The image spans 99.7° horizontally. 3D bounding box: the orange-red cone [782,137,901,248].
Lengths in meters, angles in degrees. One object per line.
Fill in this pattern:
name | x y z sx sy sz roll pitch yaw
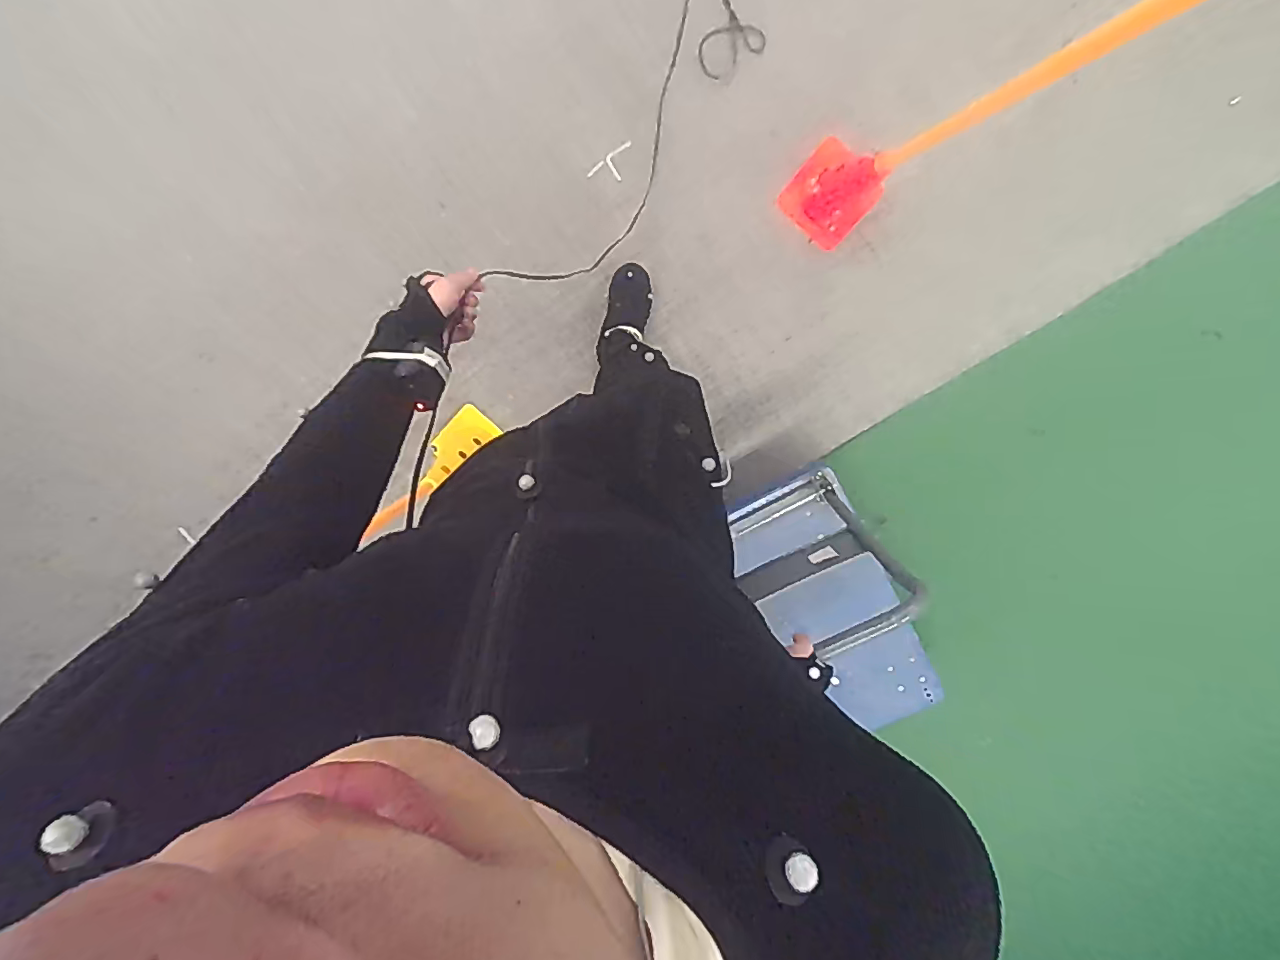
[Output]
orange-red cone | 0.484 -0.666 1.199 0.198 0.360 0.199 40 104 -12
